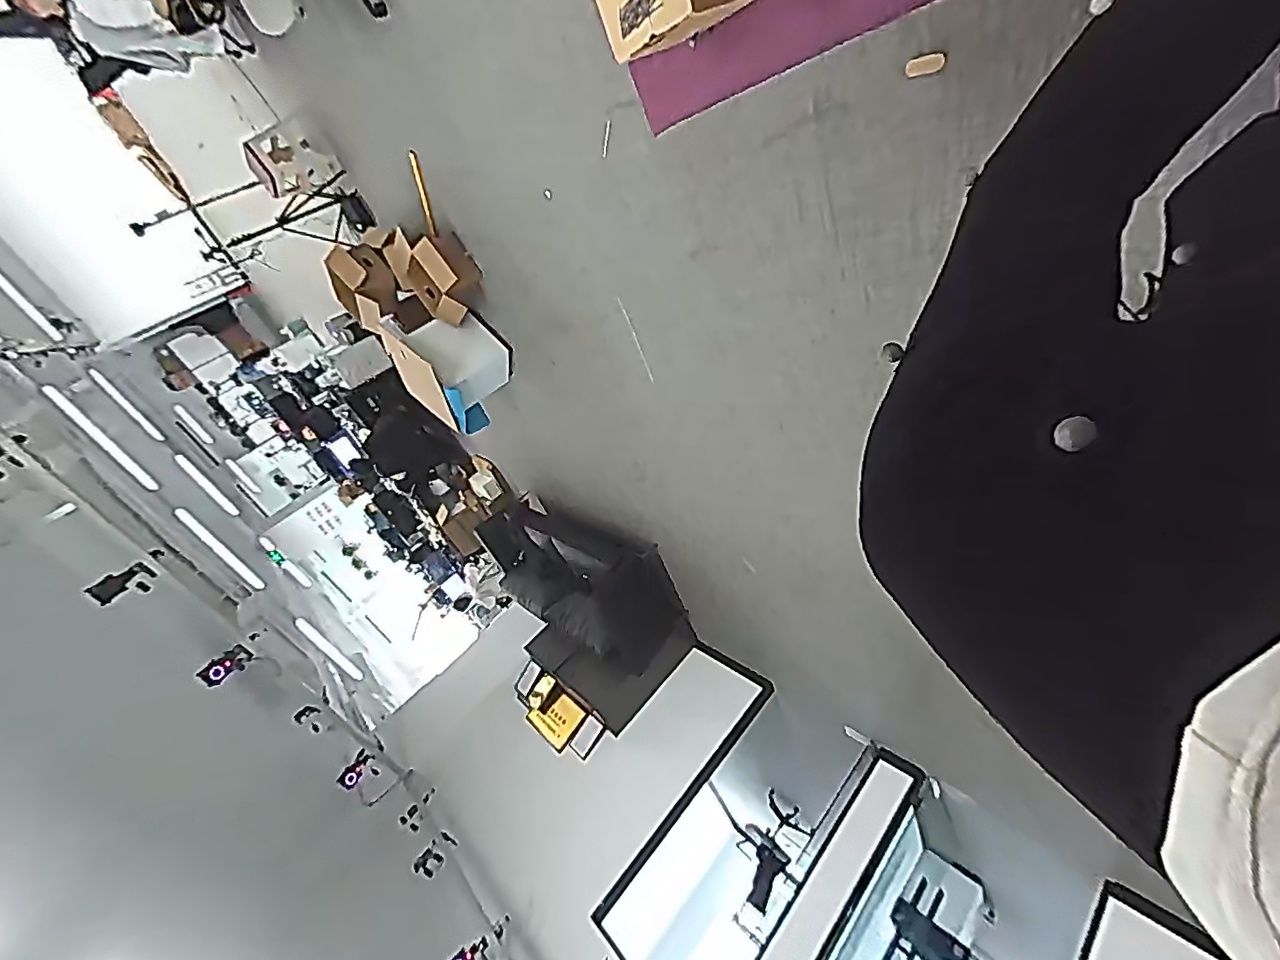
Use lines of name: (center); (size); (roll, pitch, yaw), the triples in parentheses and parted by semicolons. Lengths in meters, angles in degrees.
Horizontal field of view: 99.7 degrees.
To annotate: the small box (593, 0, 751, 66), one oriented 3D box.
small box: (0.039, -0.717, 0.739); (0.168, 0.176, 0.179); (16, 138, 49)
